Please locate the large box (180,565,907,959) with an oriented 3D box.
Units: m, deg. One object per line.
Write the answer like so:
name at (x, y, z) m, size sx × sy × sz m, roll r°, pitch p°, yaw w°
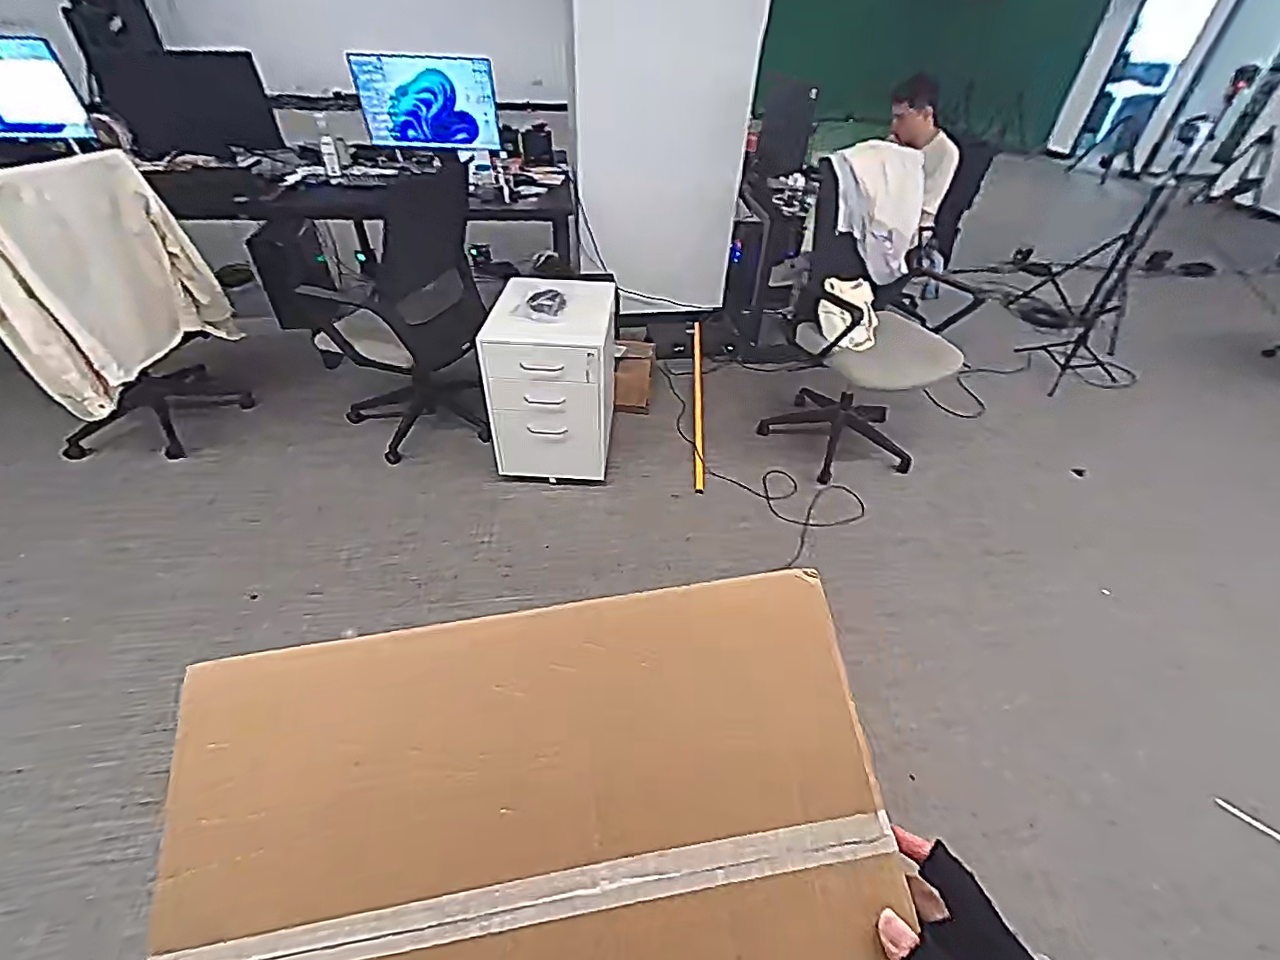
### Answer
large box at (-0.062, 0.285, 0.450) m, size 0.408 × 0.320 × 0.320 m, roll -9°, pitch 70°, yaw -4°
